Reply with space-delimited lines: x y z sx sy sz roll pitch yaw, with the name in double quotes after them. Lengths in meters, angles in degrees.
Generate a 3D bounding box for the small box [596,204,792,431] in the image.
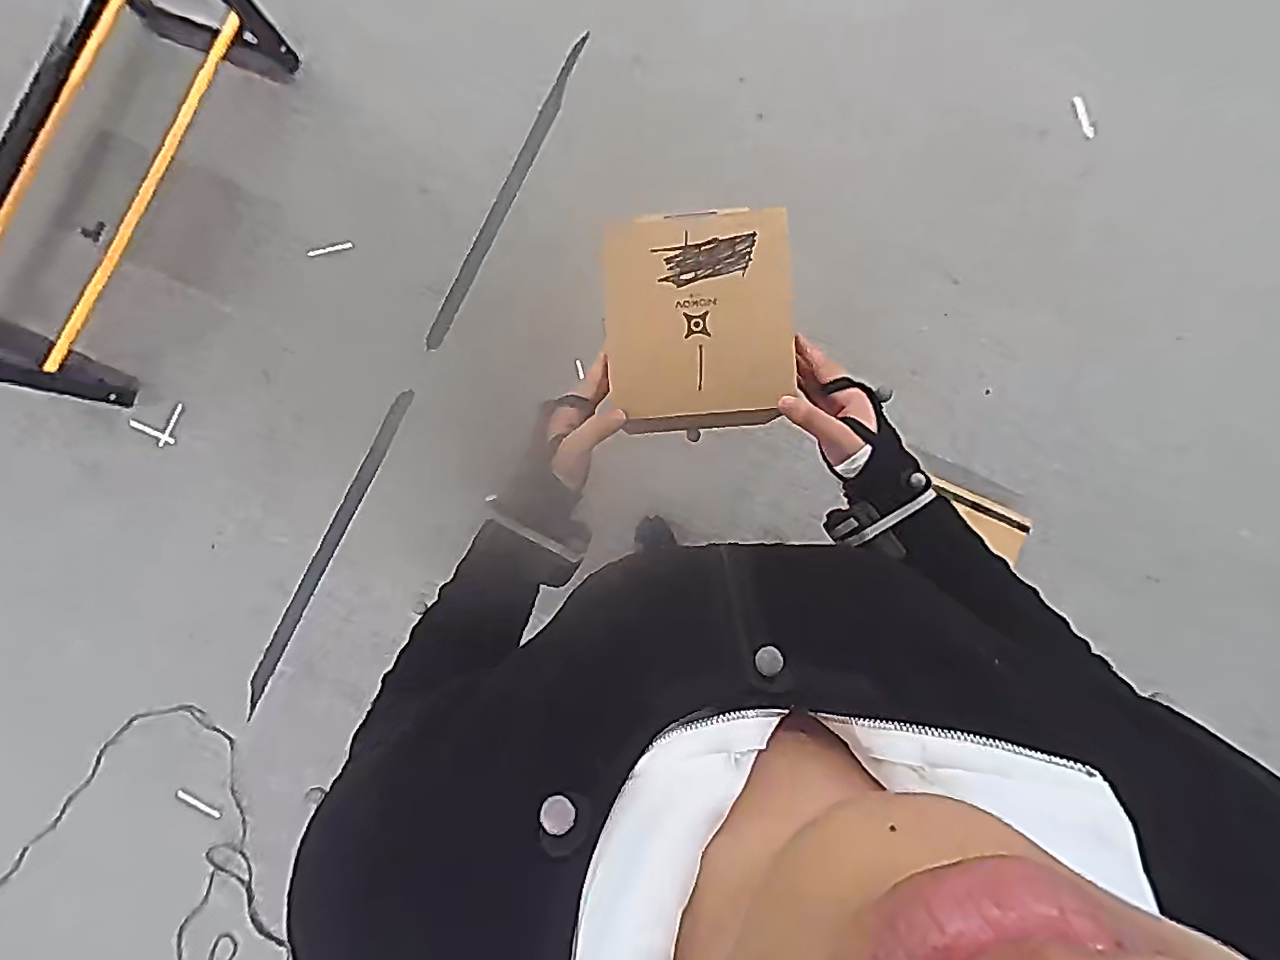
0.050 -0.149 0.552 0.168 0.176 0.179 -4 91 4 "small box"
